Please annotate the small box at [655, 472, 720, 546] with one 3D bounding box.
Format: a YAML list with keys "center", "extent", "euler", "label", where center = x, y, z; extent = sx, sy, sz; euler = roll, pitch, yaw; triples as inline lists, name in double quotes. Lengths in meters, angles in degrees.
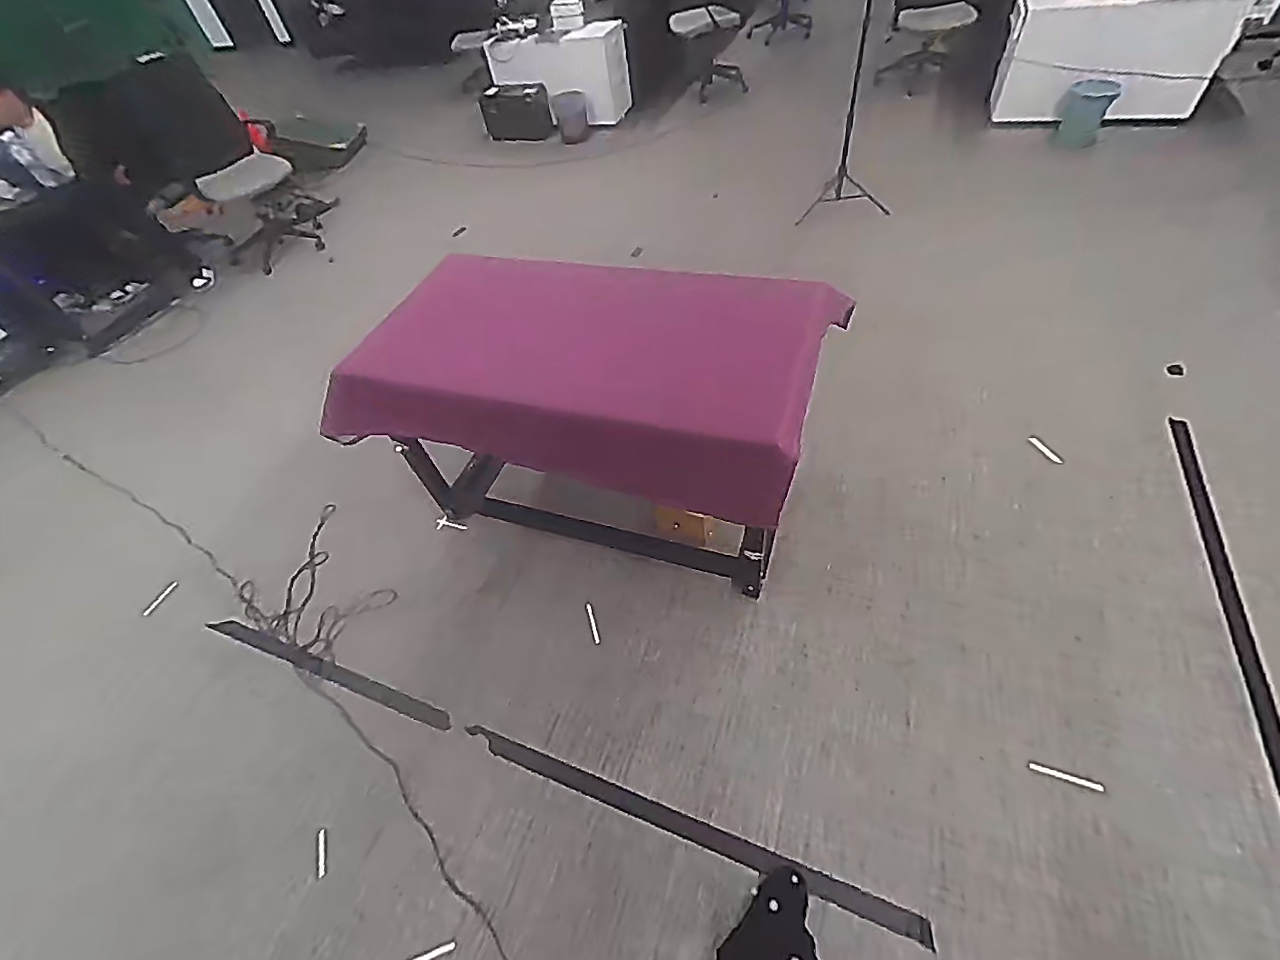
- center: [0.166, 0.103, 1.830]
  extent: [0.179, 0.176, 0.168]
  euler: [12, 54, 19]
  label: "small box"
